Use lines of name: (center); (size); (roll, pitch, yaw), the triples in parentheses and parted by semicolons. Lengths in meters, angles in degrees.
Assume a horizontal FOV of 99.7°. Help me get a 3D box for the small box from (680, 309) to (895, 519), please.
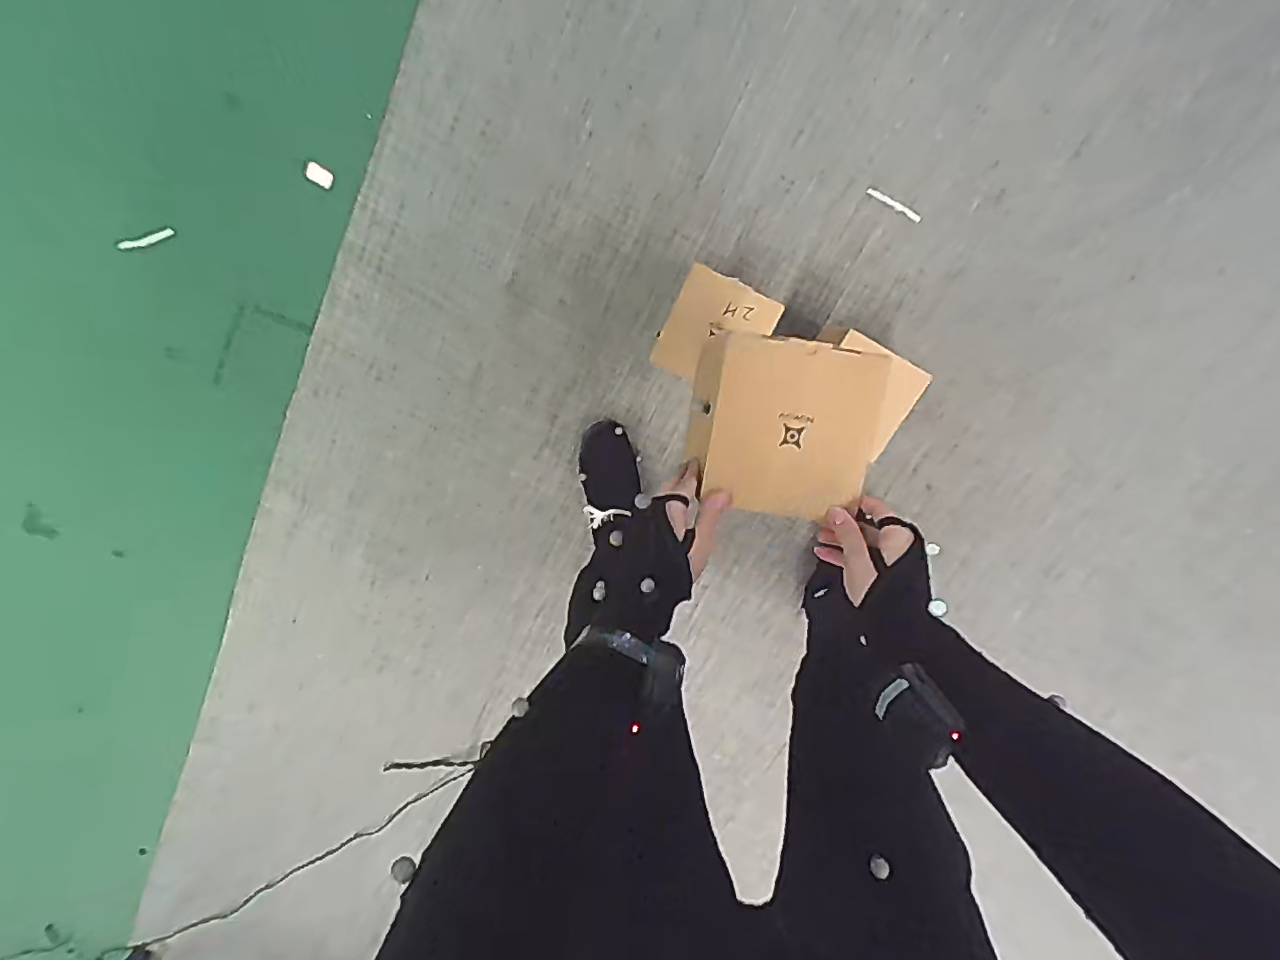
small box: (0.143, -0.075, 0.597); (0.168, 0.176, 0.179); (11, 100, -4)

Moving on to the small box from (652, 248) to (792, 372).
small box: (0.134, -0.274, 0.937); (0.168, 0.176, 0.179); (27, 107, -6)
